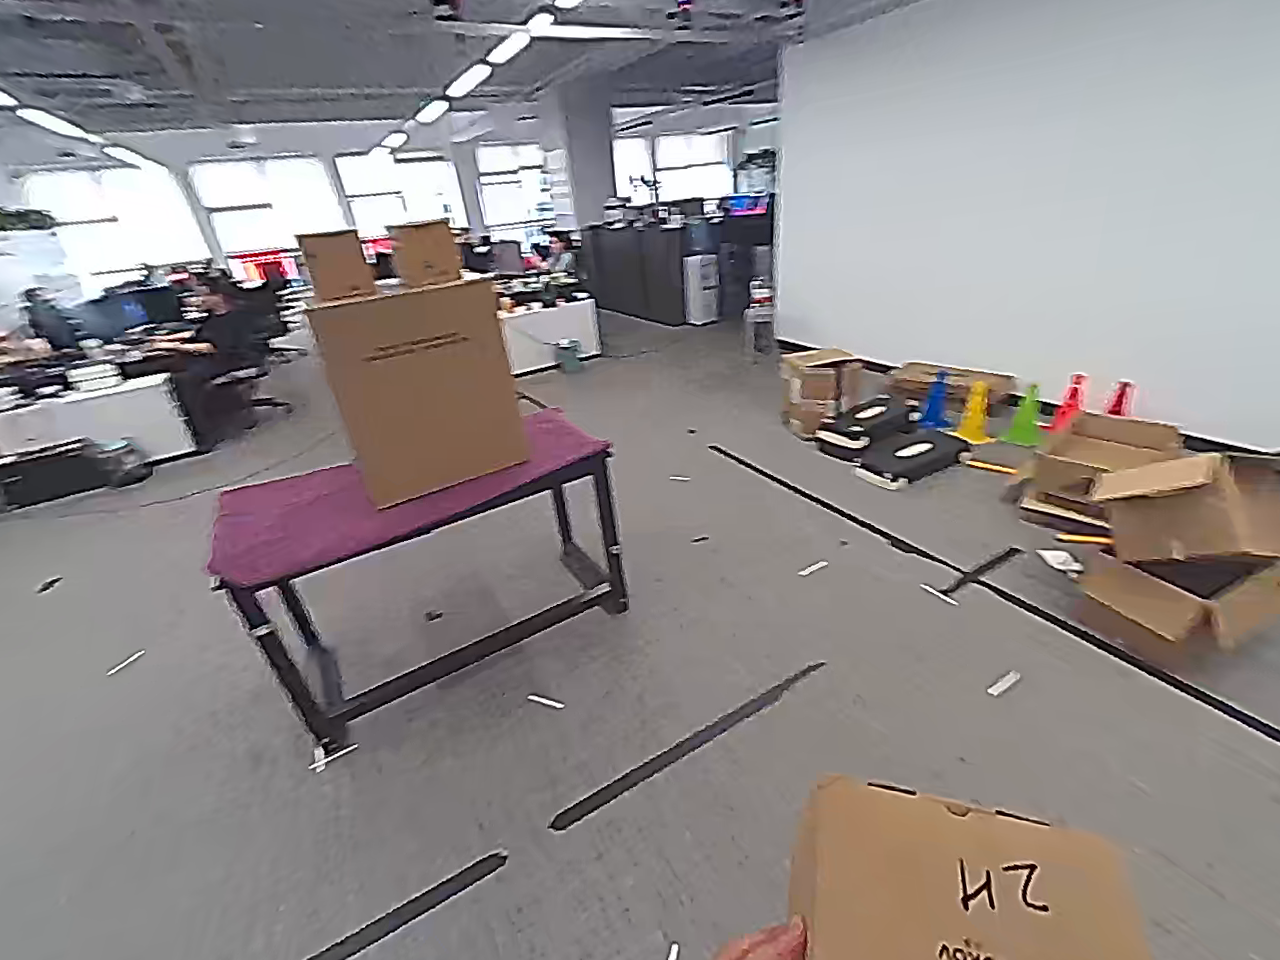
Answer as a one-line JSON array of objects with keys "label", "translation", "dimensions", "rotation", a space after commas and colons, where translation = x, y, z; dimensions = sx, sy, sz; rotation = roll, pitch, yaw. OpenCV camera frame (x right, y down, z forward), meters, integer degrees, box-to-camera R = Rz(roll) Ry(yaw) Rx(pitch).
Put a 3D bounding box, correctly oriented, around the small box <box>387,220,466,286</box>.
[{"label": "small box", "translation": [-0.656, -0.700, 1.667], "dimensions": [0.168, 0.176, 0.179], "rotation": [-23, 34, -27]}]
